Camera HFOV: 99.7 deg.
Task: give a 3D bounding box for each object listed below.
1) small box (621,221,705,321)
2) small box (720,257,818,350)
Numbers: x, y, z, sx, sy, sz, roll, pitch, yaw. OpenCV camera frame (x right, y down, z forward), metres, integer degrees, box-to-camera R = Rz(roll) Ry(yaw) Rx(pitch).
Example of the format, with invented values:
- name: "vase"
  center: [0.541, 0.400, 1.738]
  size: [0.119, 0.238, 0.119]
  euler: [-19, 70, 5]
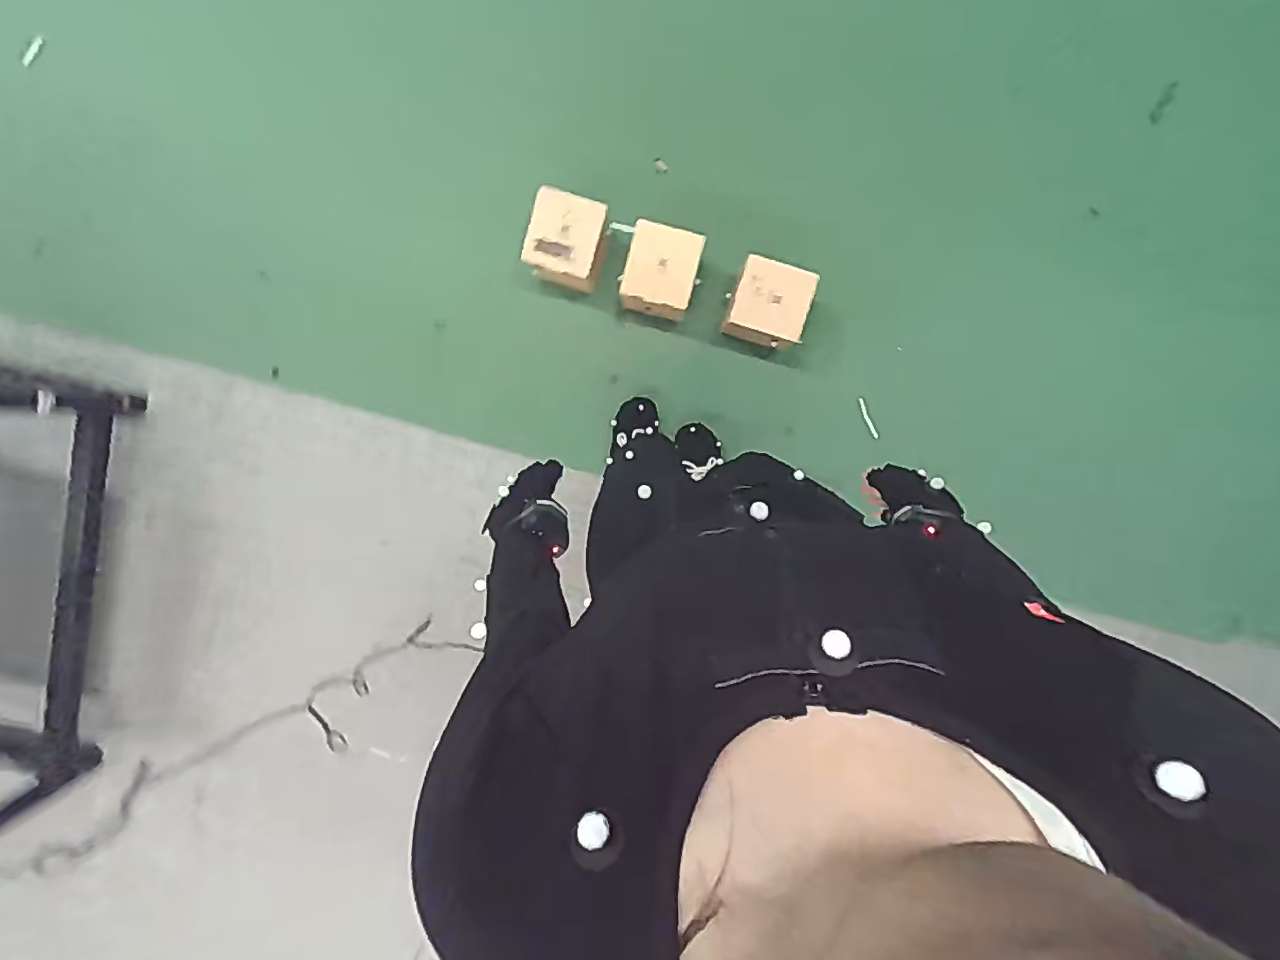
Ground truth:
- name: "small box"
  center: [0.053, -0.516, 1.358]
  size: [0.168, 0.176, 0.179]
  euler: [15, 98, -1]
- name: "small box"
  center: [0.316, -0.435, 1.362]
  size: [0.179, 0.176, 0.168]
  euler: [18, 97, -1]
